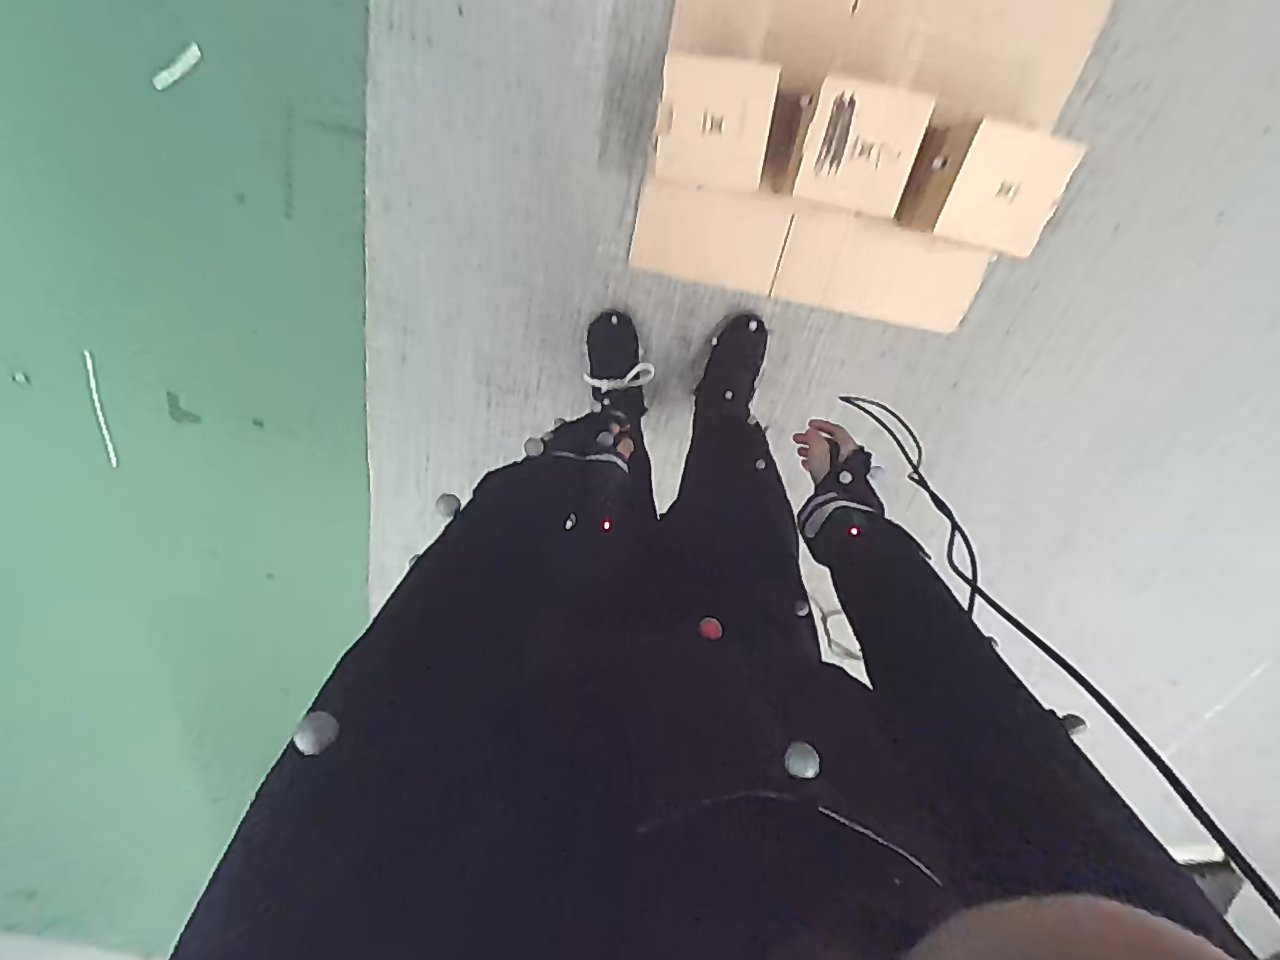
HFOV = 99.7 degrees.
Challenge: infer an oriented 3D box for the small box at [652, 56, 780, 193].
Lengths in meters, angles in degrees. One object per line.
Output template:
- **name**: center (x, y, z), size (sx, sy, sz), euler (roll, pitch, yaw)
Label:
- **small box**: center (0.117, -0.585, 0.908), size (0.179, 0.176, 0.168), euler (6, 119, -1)

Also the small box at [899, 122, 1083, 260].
- **small box**: center (0.582, -0.490, 0.930), size (0.179, 0.176, 0.168), euler (13, 117, -4)
